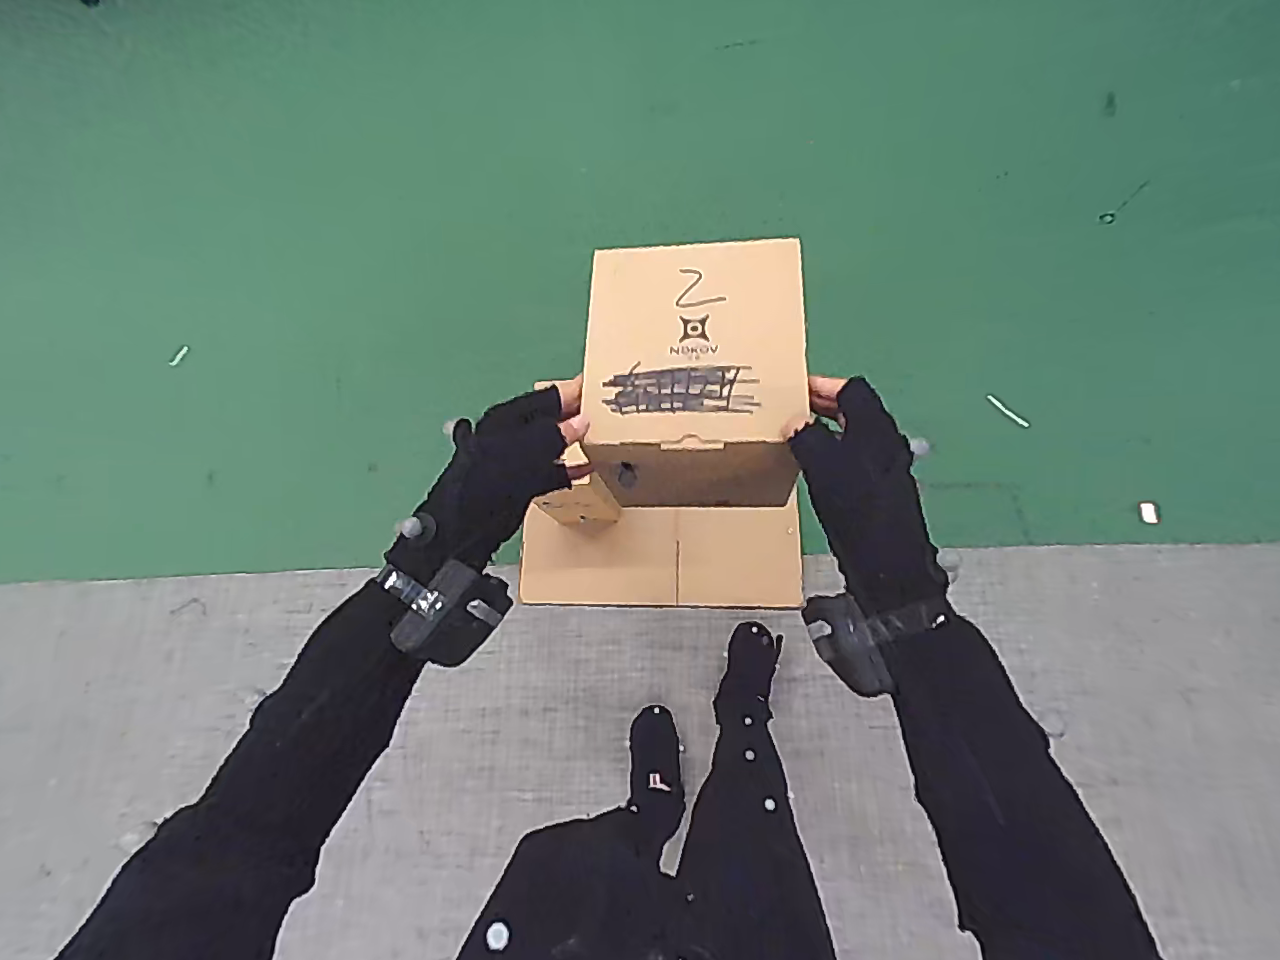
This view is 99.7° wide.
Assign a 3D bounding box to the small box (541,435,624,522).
[{"bbox_3d":[-0.136,0.001,1.329,0.168,0.176,0.179,-2,74,8],"label":"small box"}]

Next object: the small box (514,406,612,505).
[{"bbox_3d":[-0.159,-0.046,1.173,0.168,0.176,0.179,-1,73,8],"label":"small box"}]
